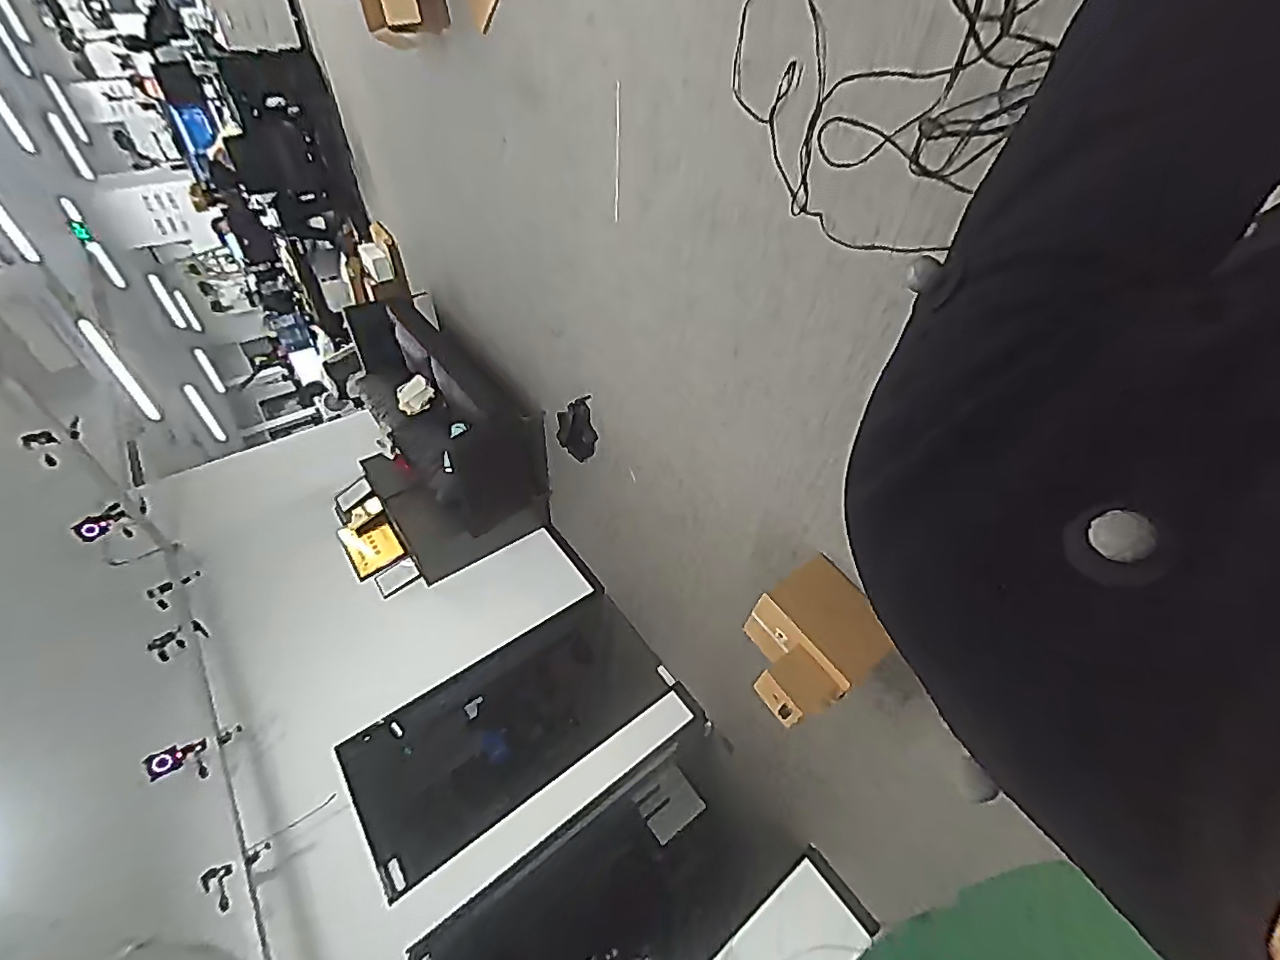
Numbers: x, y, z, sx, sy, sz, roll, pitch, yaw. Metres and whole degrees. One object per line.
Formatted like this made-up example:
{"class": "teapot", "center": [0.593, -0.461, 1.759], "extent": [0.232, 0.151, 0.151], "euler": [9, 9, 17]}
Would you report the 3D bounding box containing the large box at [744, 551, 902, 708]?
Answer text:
{"class": "large box", "center": [0.665, 0.548, 2.009], "extent": [0.408, 0.320, 0.320], "euler": [49, 149, 28]}
